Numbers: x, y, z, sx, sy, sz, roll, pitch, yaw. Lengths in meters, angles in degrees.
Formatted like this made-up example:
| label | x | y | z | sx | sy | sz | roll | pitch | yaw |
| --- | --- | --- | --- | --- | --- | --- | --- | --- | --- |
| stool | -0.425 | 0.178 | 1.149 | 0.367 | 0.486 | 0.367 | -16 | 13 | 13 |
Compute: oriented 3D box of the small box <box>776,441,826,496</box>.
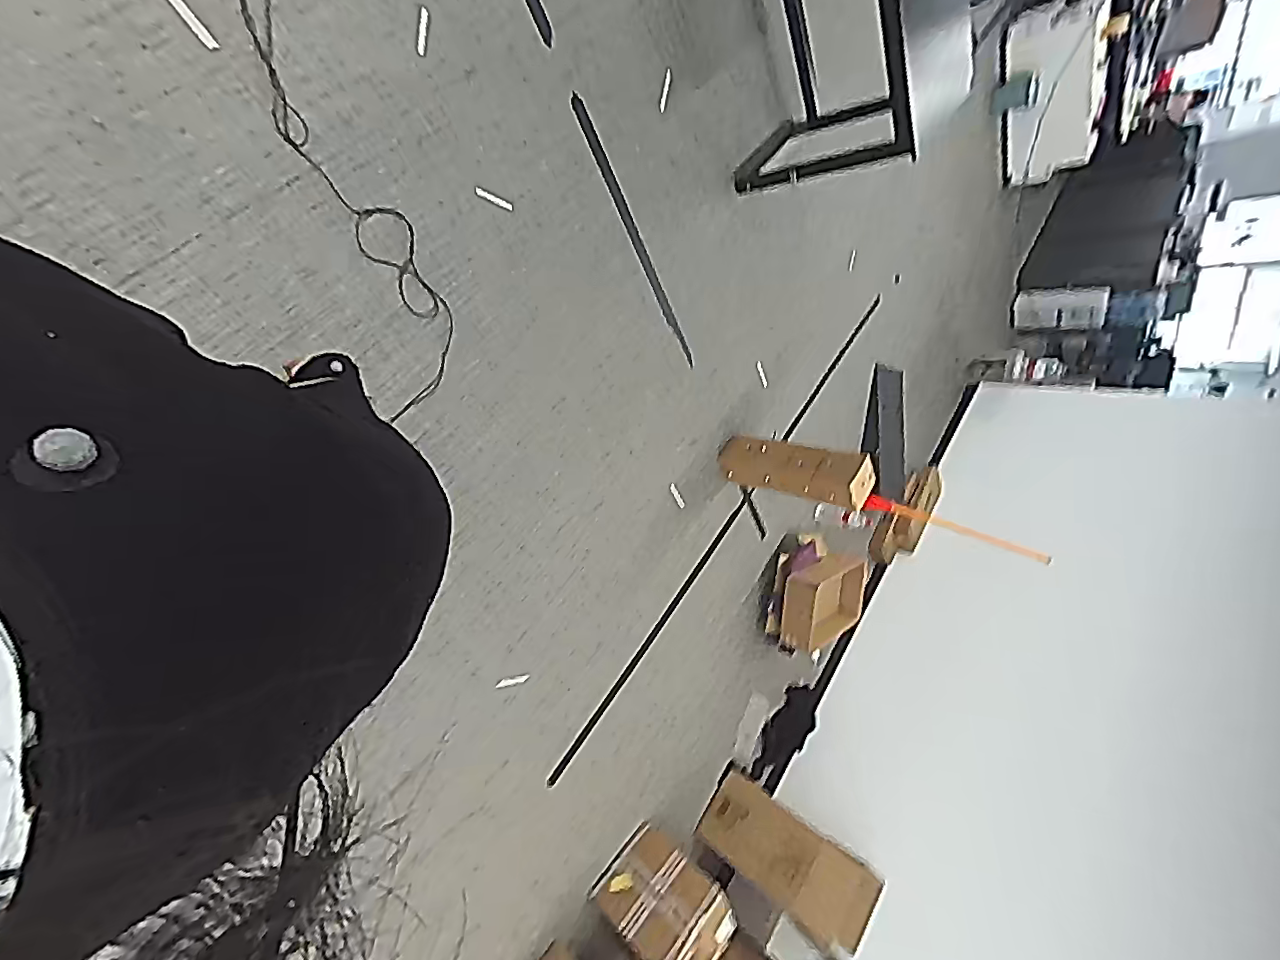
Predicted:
| label | x | y | z | sx | sy | sz | roll | pitch | yaw |
| --- | --- | --- | --- | --- | --- | --- | --- | --- | --- |
| small box | 0.715 | -0.057 | 2.362 | 0.168 | 0.176 | 0.179 | -51 | 132 | -23 |

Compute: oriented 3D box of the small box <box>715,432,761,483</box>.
| label | x | y | z | sx | sy | sz | roll | pitch | yaw |
| --- | --- | --- | --- | --- | --- | --- | --- | --- | --- |
| small box | 0.490 | -0.115 | 2.591 | 0.179 | 0.176 | 0.168 | -51 | 130 | -24 |

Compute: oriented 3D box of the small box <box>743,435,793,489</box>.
| label | x | y | z | sx | sy | sz | roll | pitch | yaw |
| --- | --- | --- | --- | --- | --- | --- | --- | --- | --- |
| small box | 0.602 | -0.088 | 2.473 | 0.168 | 0.176 | 0.179 | -51 | 130 | -24 |

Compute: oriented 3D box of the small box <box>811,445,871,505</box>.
| label | x | y | z | sx | sy | sz | roll | pitch | yaw |
| --- | --- | --- | --- | --- | --- | --- | --- | --- | --- |
| small box | 0.831 | -0.023 | 2.250 | 0.179 | 0.176 | 0.168 | -51 | 131 | -22 |
